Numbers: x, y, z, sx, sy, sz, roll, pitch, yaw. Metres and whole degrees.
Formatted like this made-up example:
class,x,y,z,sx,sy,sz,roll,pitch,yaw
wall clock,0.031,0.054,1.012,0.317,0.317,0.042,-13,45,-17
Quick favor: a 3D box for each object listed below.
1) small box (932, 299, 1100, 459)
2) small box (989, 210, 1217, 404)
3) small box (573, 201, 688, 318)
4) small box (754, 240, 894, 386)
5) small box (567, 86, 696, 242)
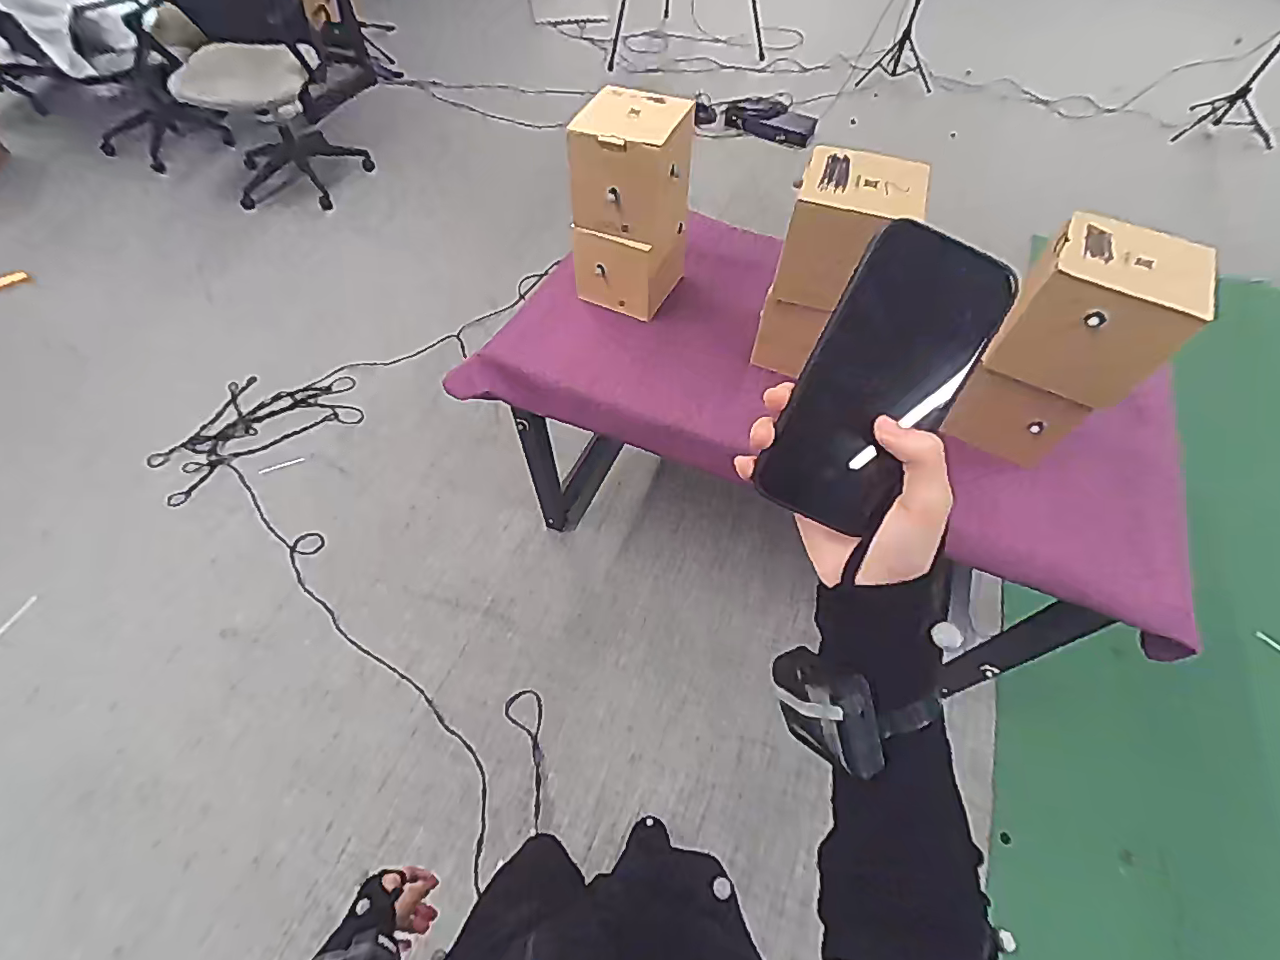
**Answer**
class,x,y,z,sx,sy,sz,roll,pitch,yaw
small box,0.626,-0.159,0.897,0.179,0.176,0.168,28,61,18
small box,0.628,-0.235,0.750,0.179,0.176,0.168,28,61,16
small box,-0.014,-0.457,1.089,0.168,0.176,0.179,23,60,14
small box,0.327,-0.297,0.984,0.179,0.176,0.168,22,59,14
small box,-0.010,-0.553,0.955,0.168,0.176,0.179,19,60,11
